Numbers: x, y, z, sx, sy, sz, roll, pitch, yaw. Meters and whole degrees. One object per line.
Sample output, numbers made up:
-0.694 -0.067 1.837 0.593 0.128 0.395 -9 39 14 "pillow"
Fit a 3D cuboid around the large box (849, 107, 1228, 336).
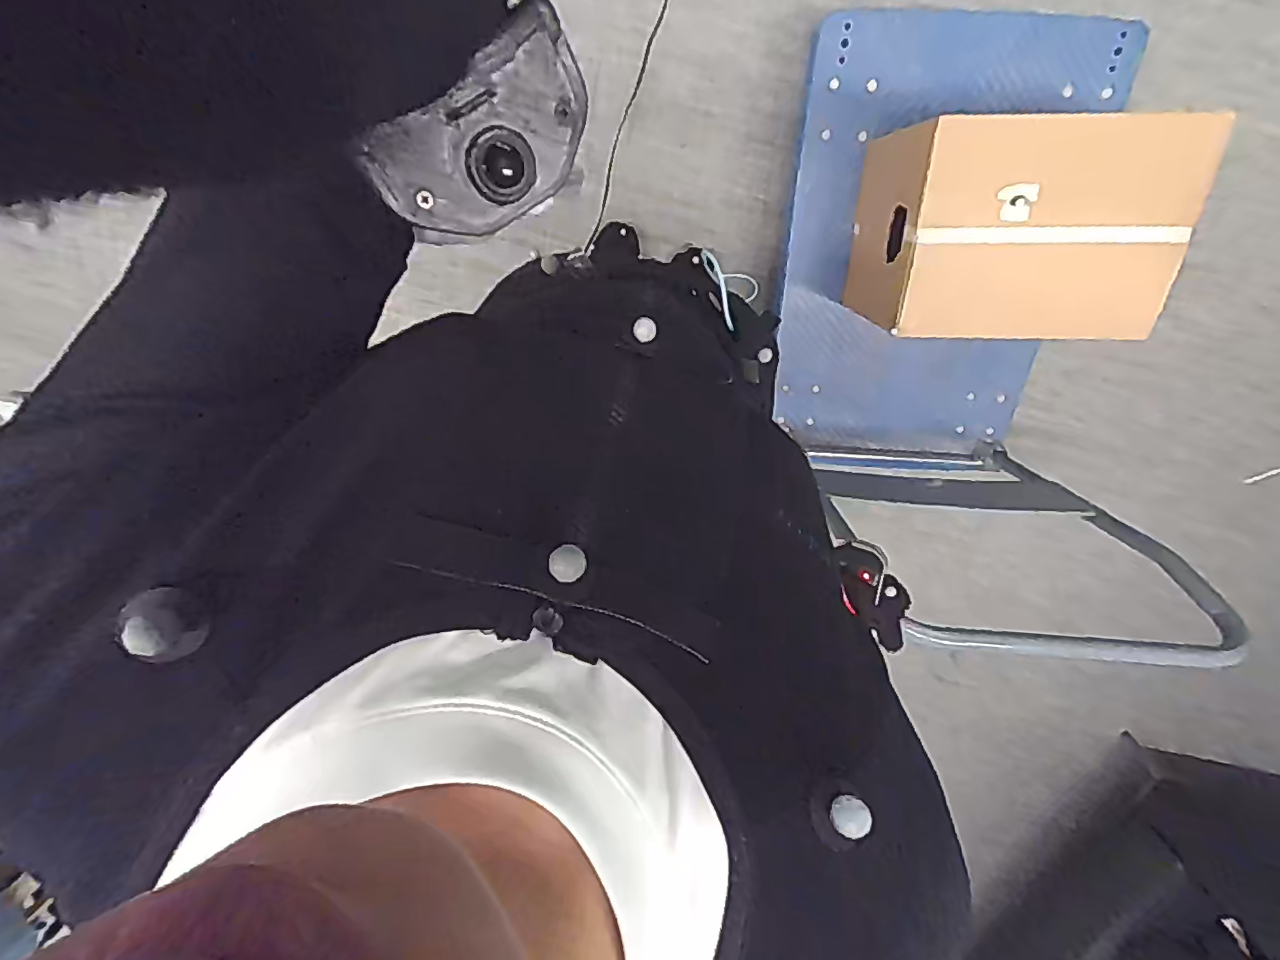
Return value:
0.636 -0.446 0.962 0.408 0.320 0.320 1 116 4 "large box"
